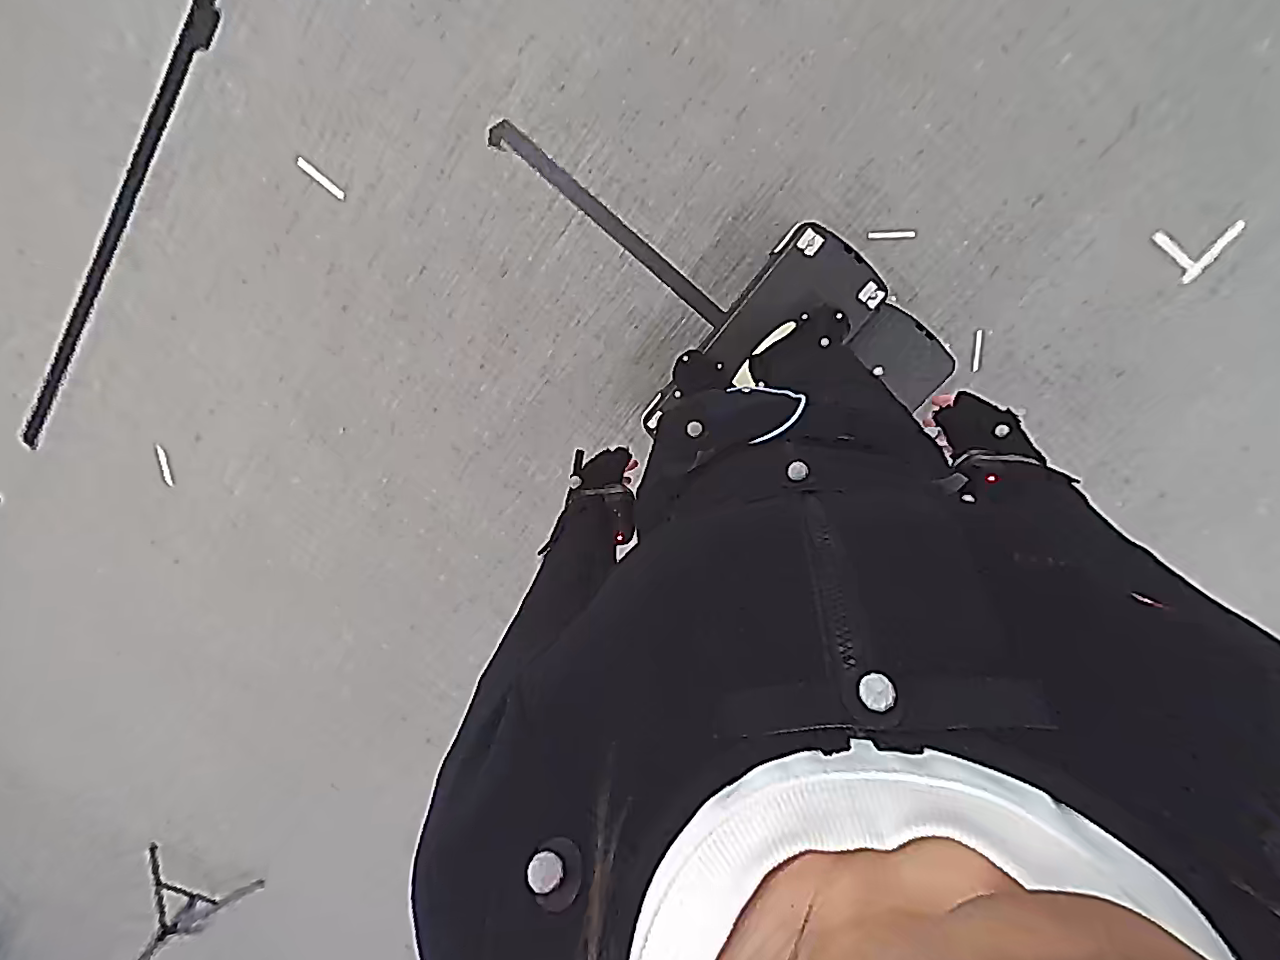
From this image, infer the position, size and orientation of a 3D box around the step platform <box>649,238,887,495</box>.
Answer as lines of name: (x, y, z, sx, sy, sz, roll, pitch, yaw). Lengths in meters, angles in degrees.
step platform: (0.323, -0.290, 1.461, 0.286, 0.204, 0.684, 37, 105, -7)
